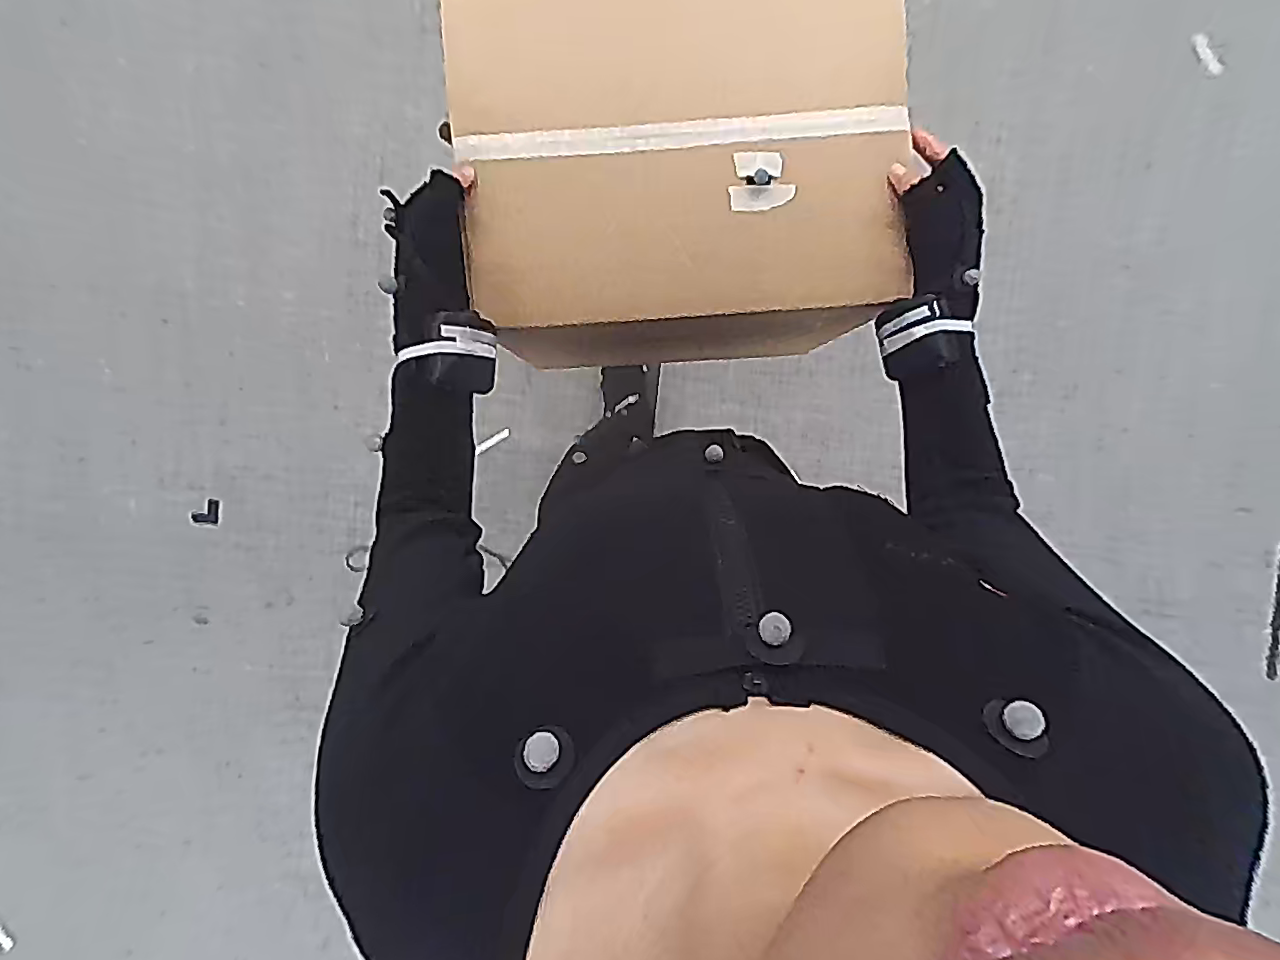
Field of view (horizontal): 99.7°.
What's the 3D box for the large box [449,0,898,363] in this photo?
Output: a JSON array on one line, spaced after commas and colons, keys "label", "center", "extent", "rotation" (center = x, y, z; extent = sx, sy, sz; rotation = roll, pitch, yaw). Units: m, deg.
[{"label": "large box", "center": [0.032, -0.329, 0.646], "extent": [0.408, 0.320, 0.320], "rotation": [-4, 95, -1]}]
